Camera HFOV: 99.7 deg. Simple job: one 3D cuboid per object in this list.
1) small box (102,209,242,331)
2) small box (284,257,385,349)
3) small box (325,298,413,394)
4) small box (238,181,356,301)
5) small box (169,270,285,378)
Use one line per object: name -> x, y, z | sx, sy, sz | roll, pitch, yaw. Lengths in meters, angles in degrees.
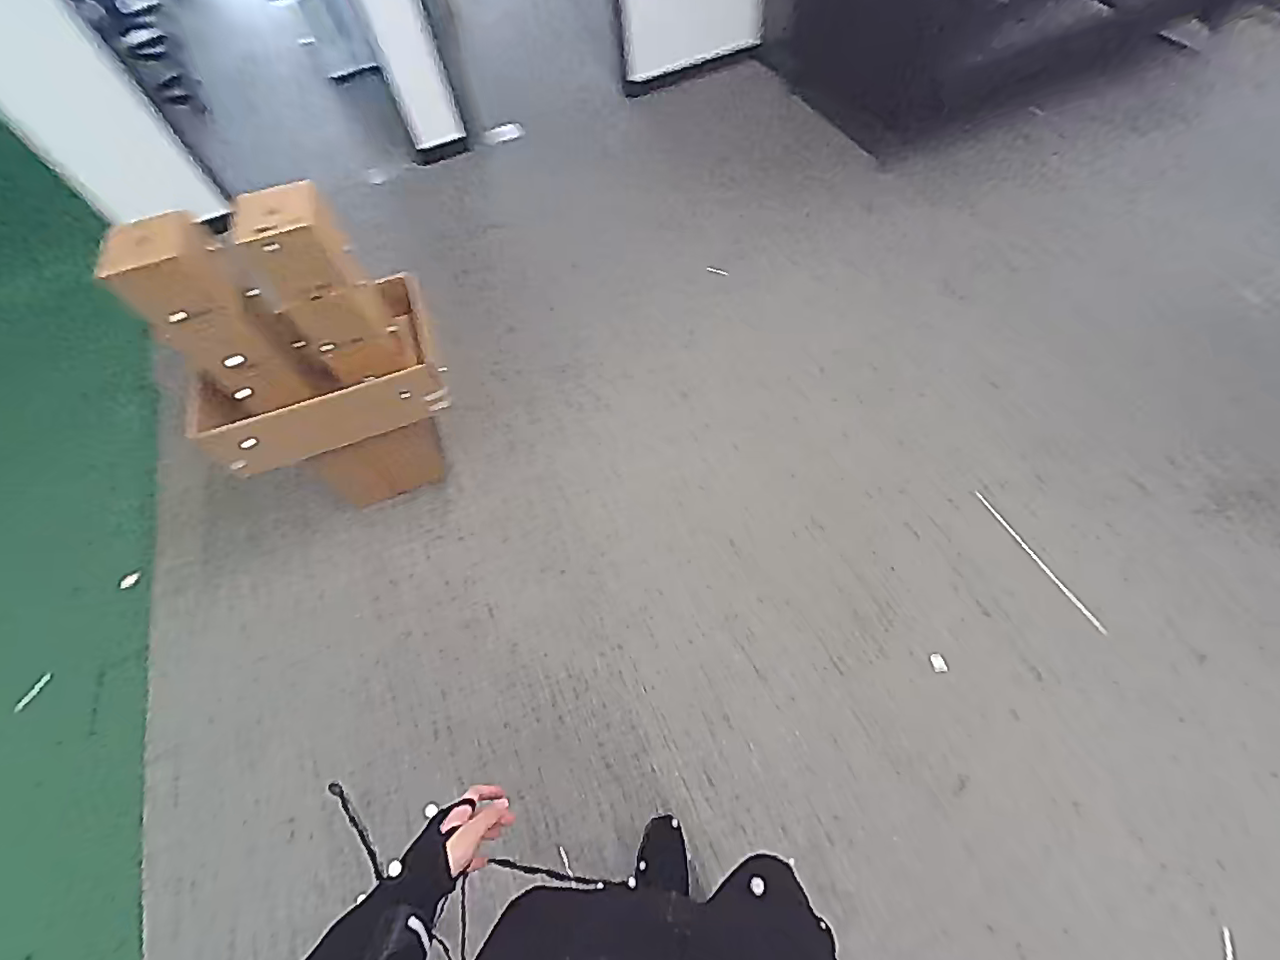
small box -> -1.040, -0.471, 1.222 | 0.168, 0.176, 0.179 | -18, 60, -5
small box -> -0.772, -0.456, 1.379 | 0.168, 0.176, 0.179 | -17, 60, -5
small box -> -0.759, -0.374, 1.521 | 0.168, 0.176, 0.179 | -18, 61, -5
small box -> -0.777, -0.545, 1.241 | 0.168, 0.176, 0.179 | -17, 60, -5
small box -> -1.028, -0.390, 1.362 | 0.168, 0.176, 0.179 | -19, 60, -5
